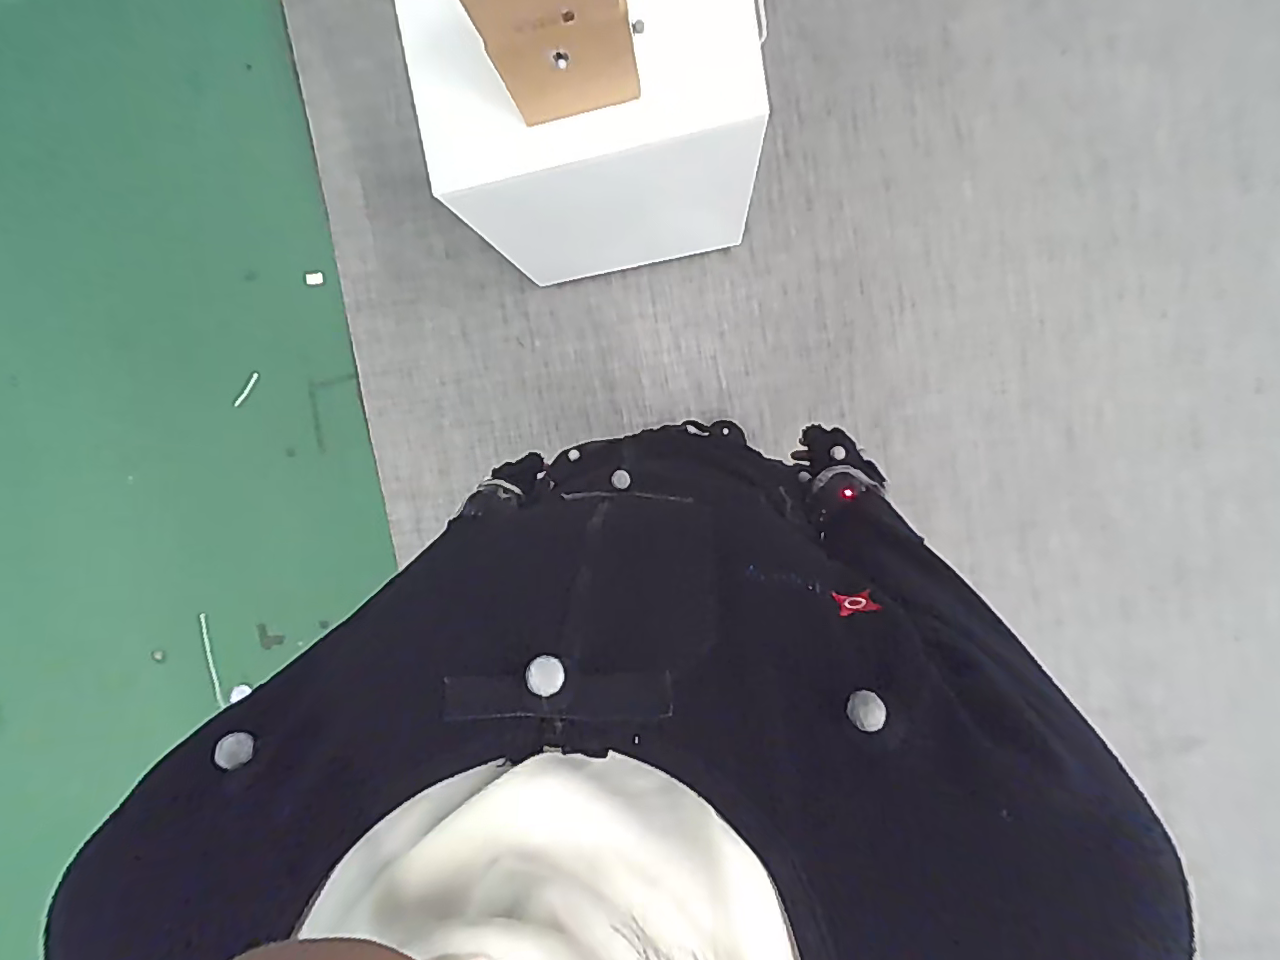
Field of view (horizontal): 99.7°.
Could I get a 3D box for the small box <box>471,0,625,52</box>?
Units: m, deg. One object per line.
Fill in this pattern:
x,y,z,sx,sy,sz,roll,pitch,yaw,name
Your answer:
-0.117,-0.594,0.546,0.168,0.176,0.179,-11,95,6,small box

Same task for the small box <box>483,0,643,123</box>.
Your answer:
-0.100,-0.606,0.706,0.179,0.176,0.168,-10,95,6,small box
